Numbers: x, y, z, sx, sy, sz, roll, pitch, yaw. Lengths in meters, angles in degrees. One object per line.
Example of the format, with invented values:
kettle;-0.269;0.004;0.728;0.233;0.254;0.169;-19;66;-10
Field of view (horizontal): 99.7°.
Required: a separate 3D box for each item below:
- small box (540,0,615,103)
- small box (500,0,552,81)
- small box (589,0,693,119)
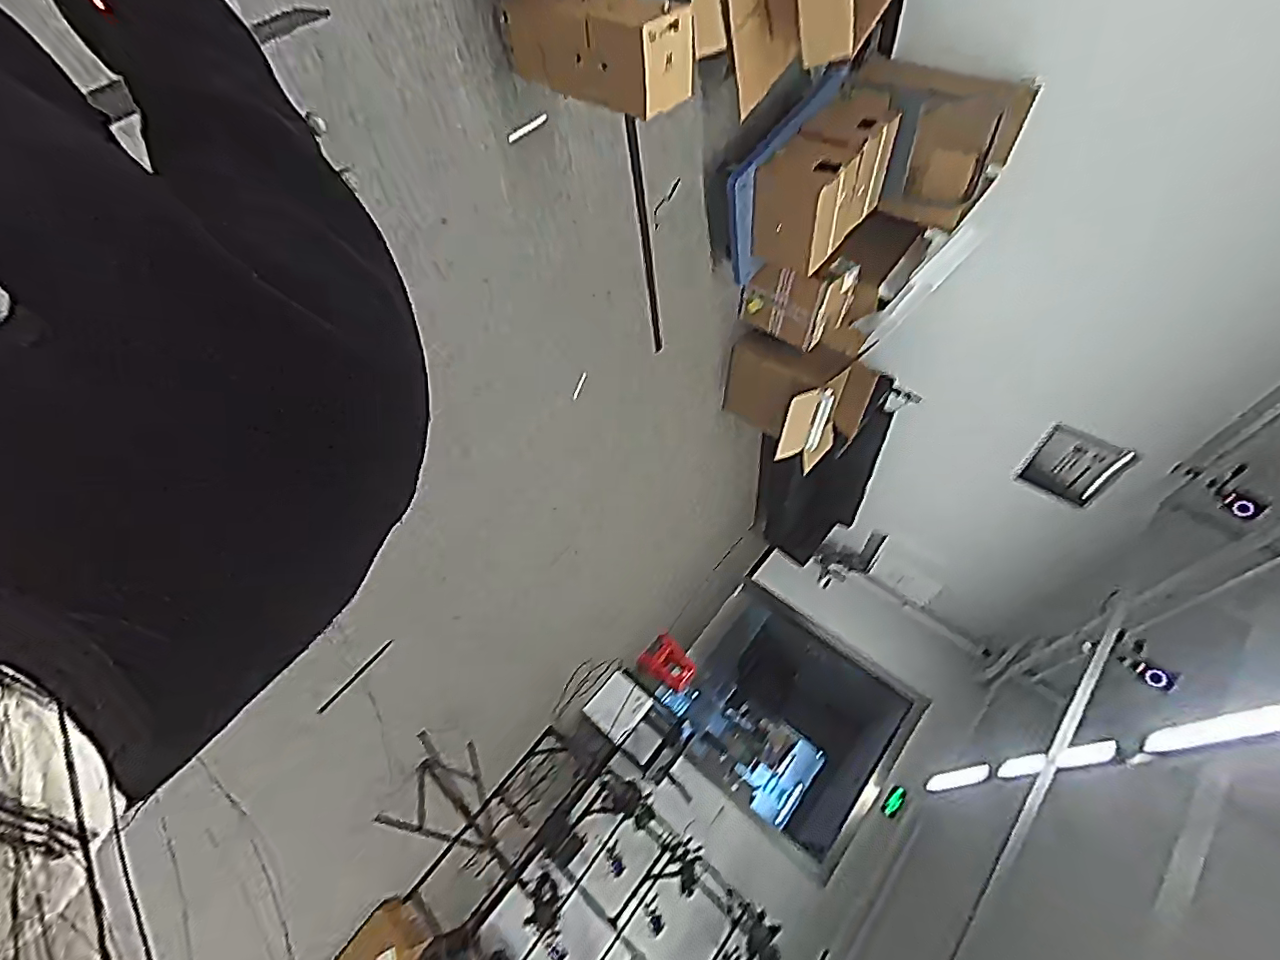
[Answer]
small box;-0.119;-1.057;1.310;0.168;0.176;0.179;-45;153;-21
small box;-0.232;-1.154;1.381;0.179;0.176;0.168;-47;154;-20
small box;0.001;-0.971;1.239;0.168;0.176;0.179;-44;153;-24
